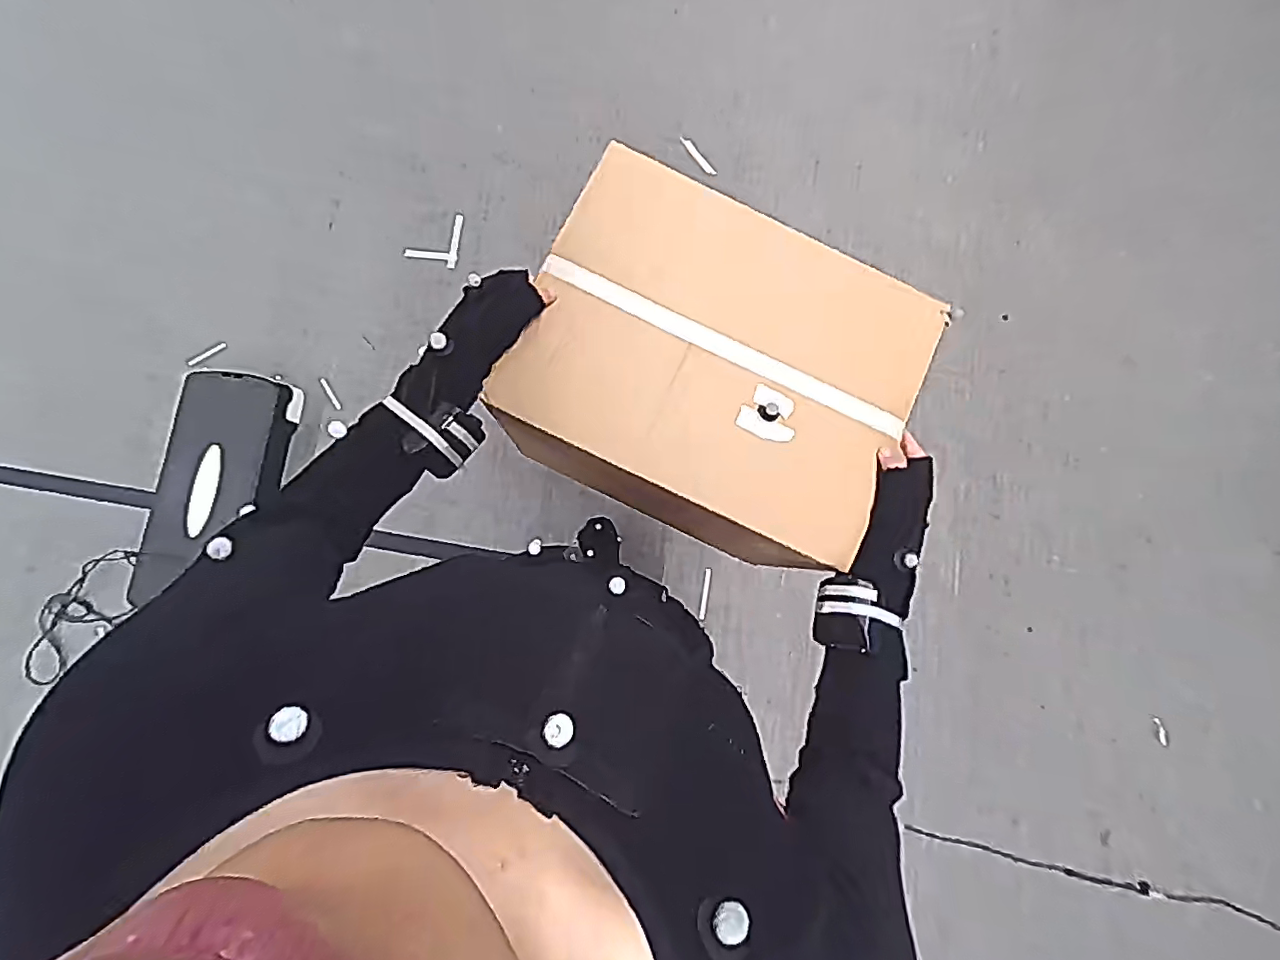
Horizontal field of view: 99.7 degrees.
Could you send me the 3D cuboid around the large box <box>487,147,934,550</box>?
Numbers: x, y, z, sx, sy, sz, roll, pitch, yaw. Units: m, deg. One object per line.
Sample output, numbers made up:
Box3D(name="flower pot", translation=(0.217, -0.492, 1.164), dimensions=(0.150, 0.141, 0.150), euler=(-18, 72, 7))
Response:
Box3D(name="large box", translation=(0.070, -0.127, 0.711), dimensions=(0.408, 0.320, 0.320), euler=(25, 82, -1))
